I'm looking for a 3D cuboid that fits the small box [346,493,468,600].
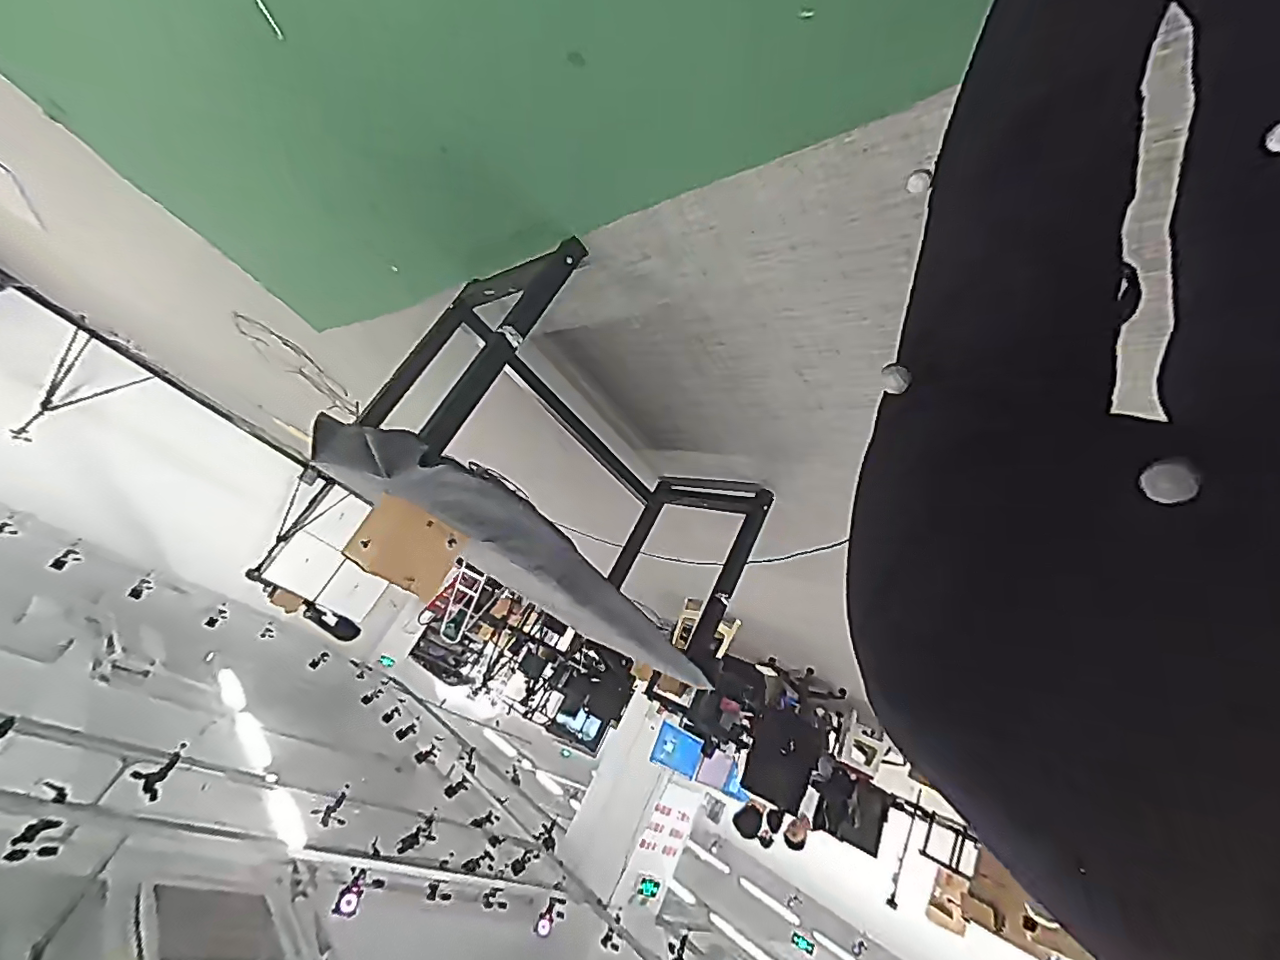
[{"bbox_3d":[-0.524,0.146,1.232,0.179,0.176,0.168,9,152,46],"label":"small box"}]
